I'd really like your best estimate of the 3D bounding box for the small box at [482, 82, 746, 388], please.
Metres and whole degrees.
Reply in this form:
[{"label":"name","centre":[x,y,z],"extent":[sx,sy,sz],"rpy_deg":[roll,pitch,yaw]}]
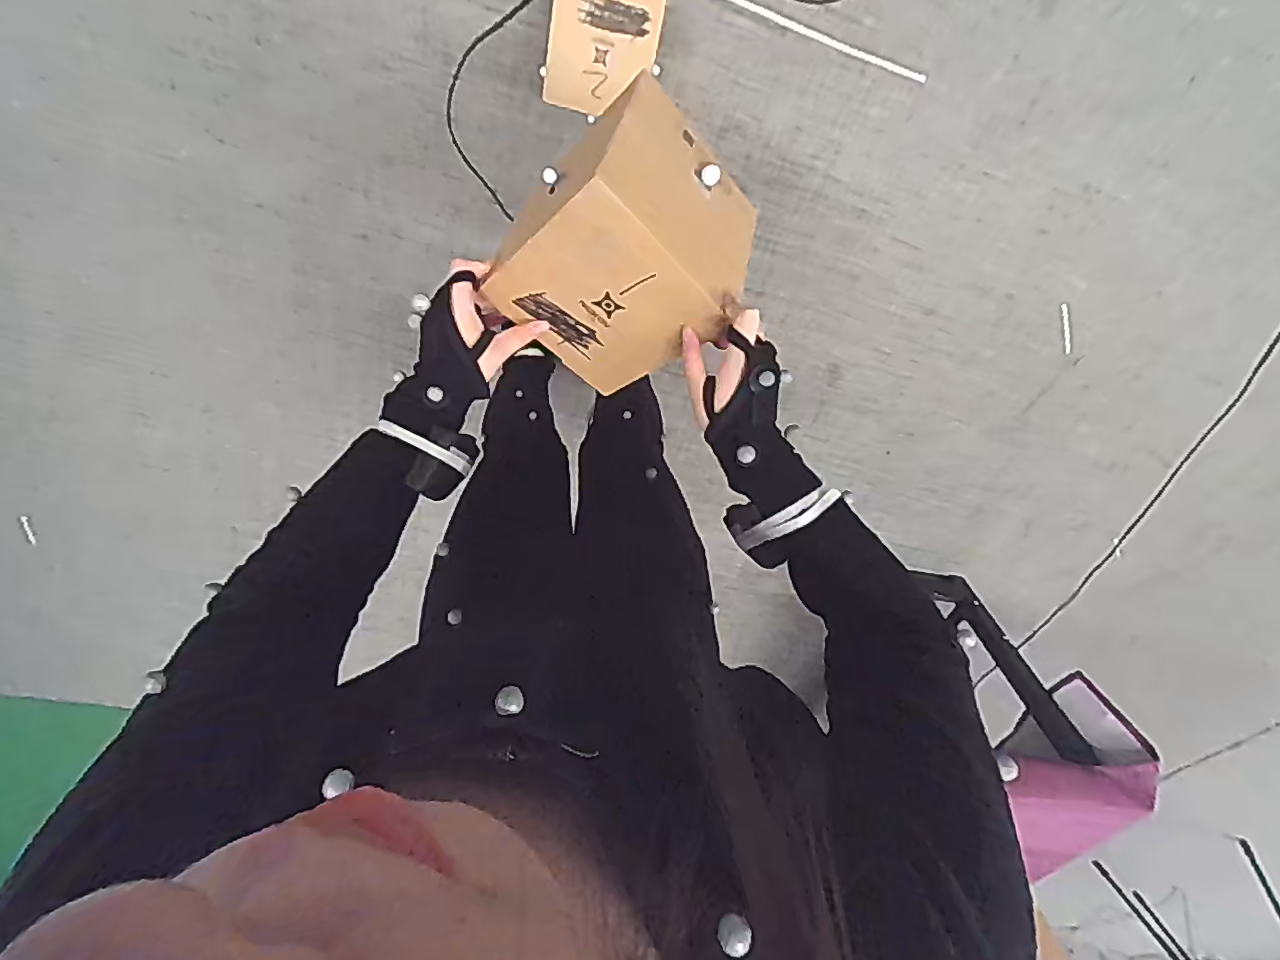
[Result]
[{"label":"small box","centre":[-0.017,-0.227,0.529],"extent":[0.168,0.176,0.179],"rpy_deg":[36,143,-31]}]
